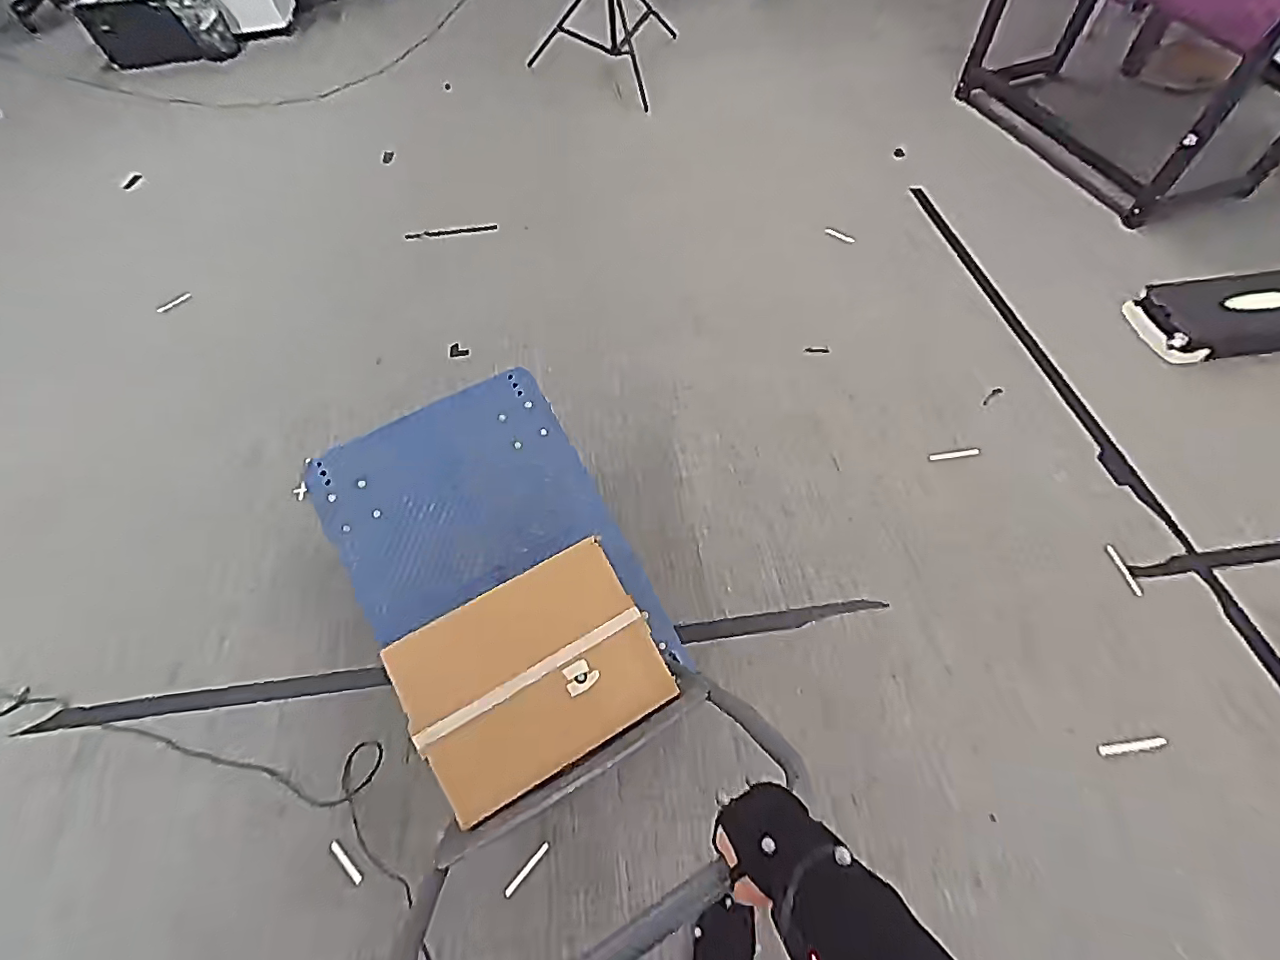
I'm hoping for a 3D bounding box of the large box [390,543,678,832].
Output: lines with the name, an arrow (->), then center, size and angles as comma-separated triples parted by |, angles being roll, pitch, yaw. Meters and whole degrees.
large box -> -0.196, 0.374, 1.063 | 0.408, 0.320, 0.320 | -29, 82, -14
